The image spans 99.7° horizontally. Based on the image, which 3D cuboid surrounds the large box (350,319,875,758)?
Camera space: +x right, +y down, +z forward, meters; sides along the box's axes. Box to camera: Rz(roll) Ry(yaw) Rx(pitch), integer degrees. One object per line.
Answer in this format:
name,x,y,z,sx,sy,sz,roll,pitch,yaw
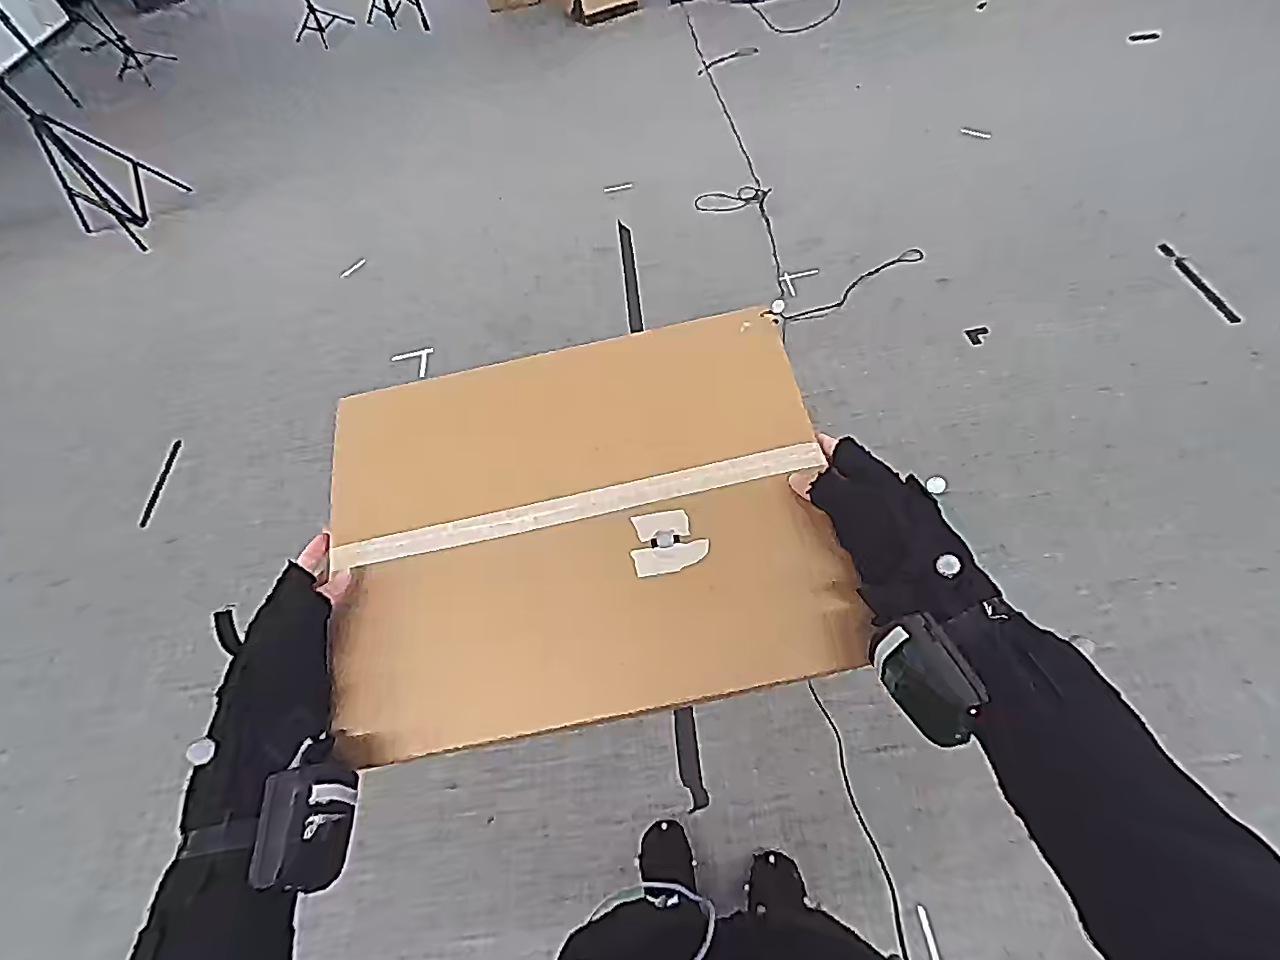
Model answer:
large box,-0.036,0.083,0.590,0.408,0.320,0.320,-12,67,0
